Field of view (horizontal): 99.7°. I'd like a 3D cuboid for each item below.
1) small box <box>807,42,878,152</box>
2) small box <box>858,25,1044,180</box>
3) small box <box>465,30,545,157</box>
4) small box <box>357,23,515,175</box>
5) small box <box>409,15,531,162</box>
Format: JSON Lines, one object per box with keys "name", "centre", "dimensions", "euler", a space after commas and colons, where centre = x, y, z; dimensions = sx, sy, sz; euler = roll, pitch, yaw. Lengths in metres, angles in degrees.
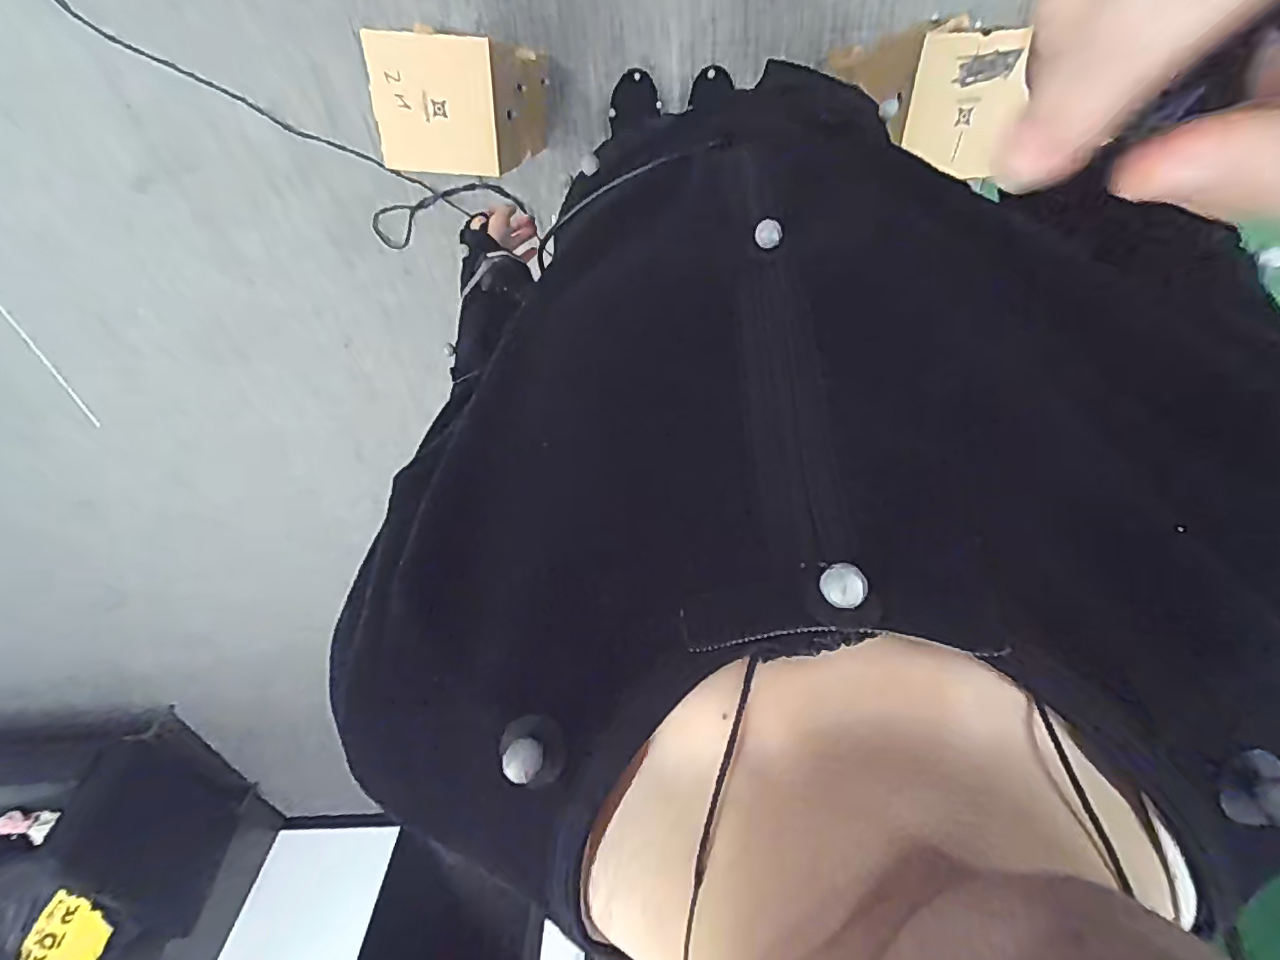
{"name": "small box", "centre": [0.453, -0.760, 1.087], "dimensions": [0.179, 0.176, 0.168], "euler": [6, 127, -3]}
{"name": "small box", "centre": [0.450, -0.569, 0.820], "dimensions": [0.168, 0.176, 0.179], "euler": [-2, 128, 1]}
{"name": "small box", "centre": [-0.289, -0.775, 1.085], "dimensions": [0.168, 0.176, 0.179], "euler": [10, 127, -6]}
{"name": "small box", "centre": [-0.293, -0.577, 0.825], "dimensions": [0.179, 0.176, 0.168], "euler": [4, 126, -1]}
{"name": "small box", "centre": [-0.299, -0.677, 0.957], "dimensions": [0.168, 0.176, 0.179], "euler": [15, 125, -9]}
